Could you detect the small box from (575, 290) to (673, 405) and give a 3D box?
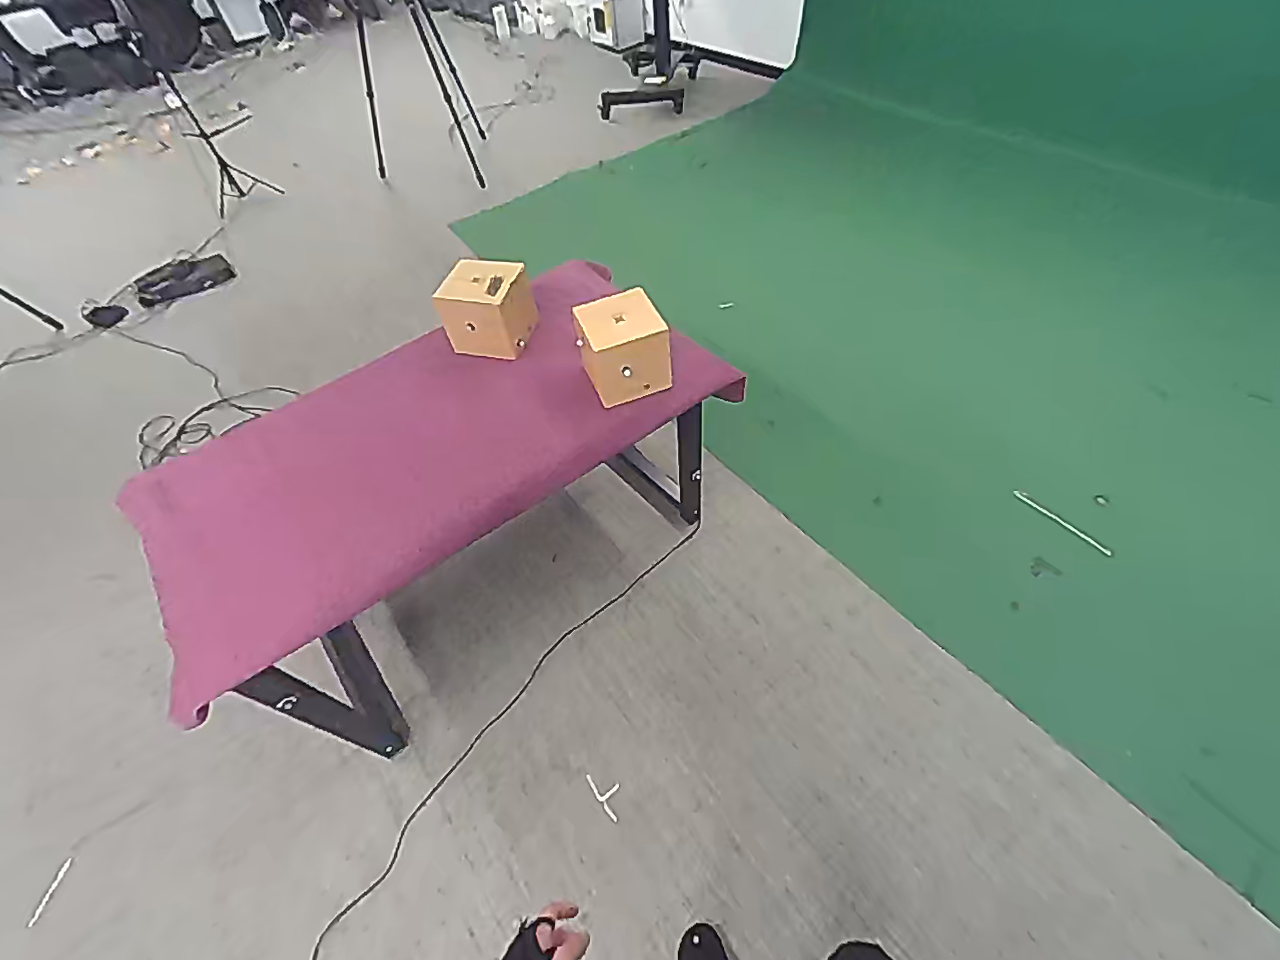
[{"bbox_3d":[-0.032,-0.290,1.215,0.168,0.176,0.179,-19,51,-8],"label":"small box"}]

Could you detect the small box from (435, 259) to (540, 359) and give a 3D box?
[{"bbox_3d":[-0.368,-0.421,1.346,0.179,0.176,0.168,10,55,12],"label":"small box"}]
